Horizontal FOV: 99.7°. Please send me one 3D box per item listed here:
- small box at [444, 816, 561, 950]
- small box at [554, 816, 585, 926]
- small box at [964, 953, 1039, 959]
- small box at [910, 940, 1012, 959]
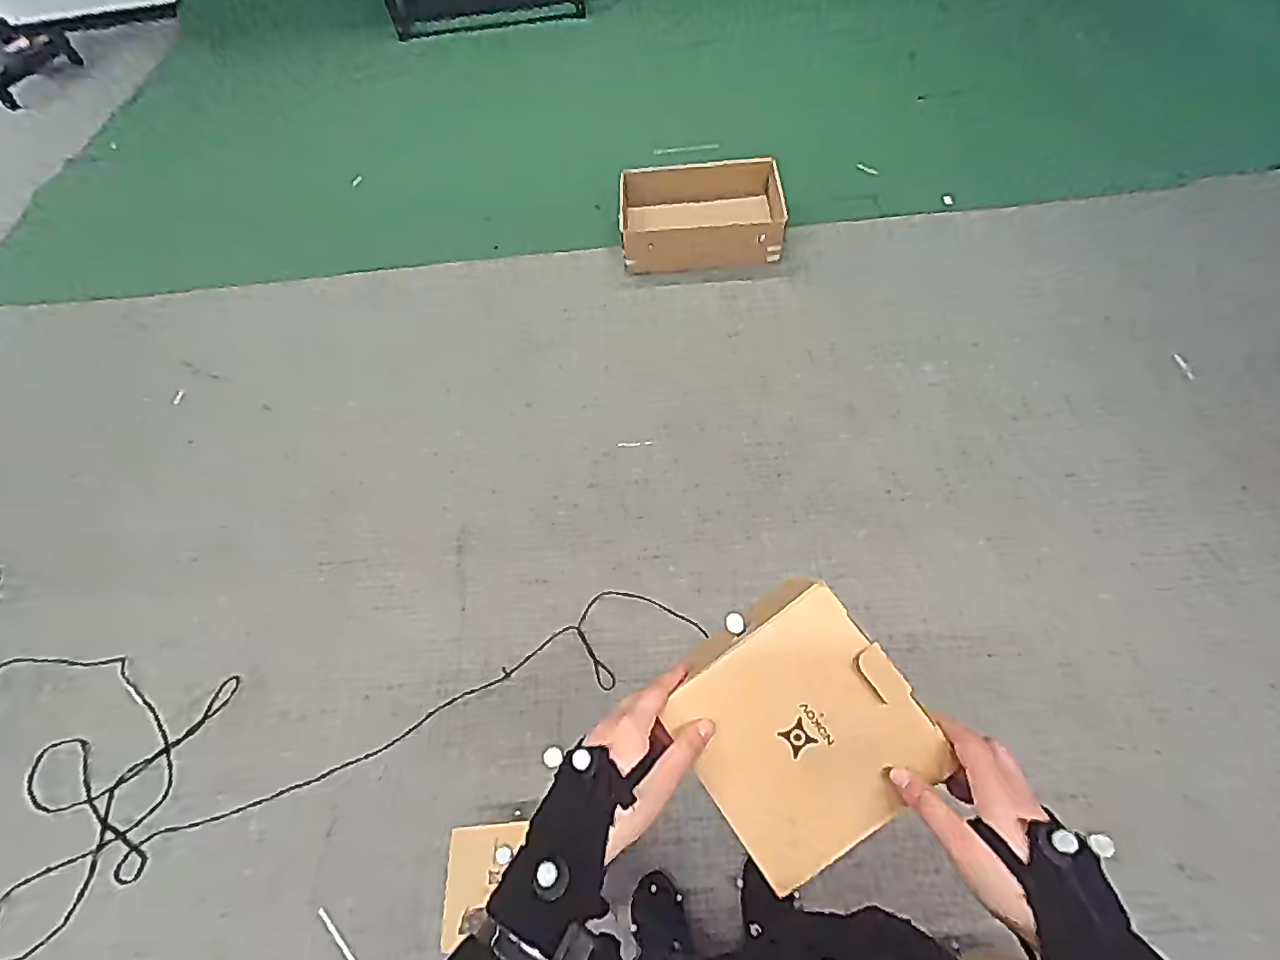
[{"bbox_3d":[-0.241,0.729,0.995,0.168,0.176,0.179,-6,58,2],"label":"small box"},{"bbox_3d":[-0.211,0.814,1.133,0.168,0.176,0.179,-7,60,2],"label":"small box"},{"bbox_3d":[0.600,0.874,0.843,0.179,0.176,0.168,-8,61,-1],"label":"small box"},{"bbox_3d":[0.614,0.963,0.978,0.179,0.176,0.168,-7,60,2],"label":"small box"}]
